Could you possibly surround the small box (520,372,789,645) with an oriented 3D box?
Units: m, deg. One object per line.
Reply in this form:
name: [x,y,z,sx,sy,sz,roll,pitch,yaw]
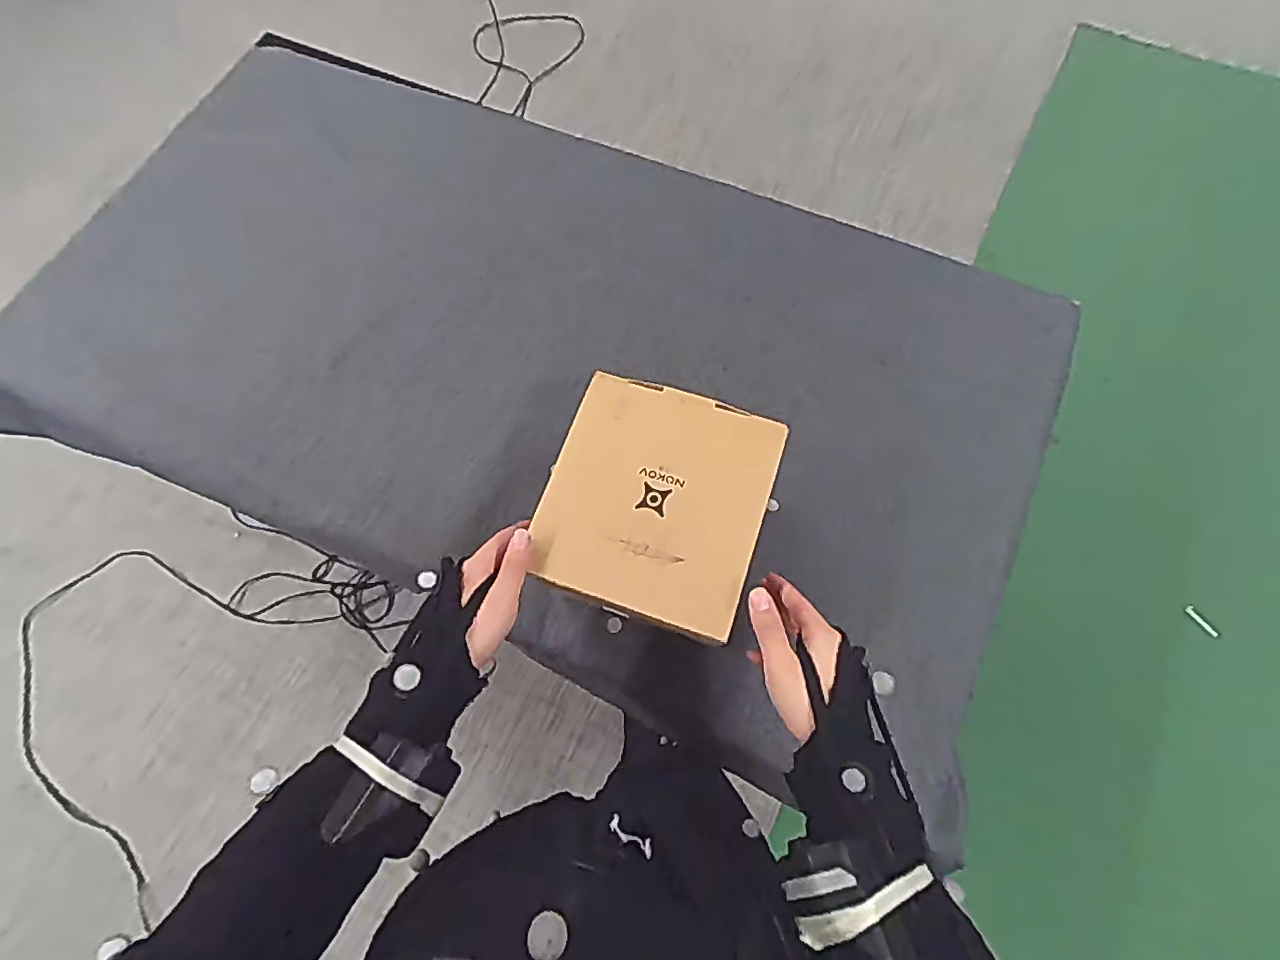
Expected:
small box: [0.017,0.036,0.484,0.168,0.176,0.179,17,74,9]
